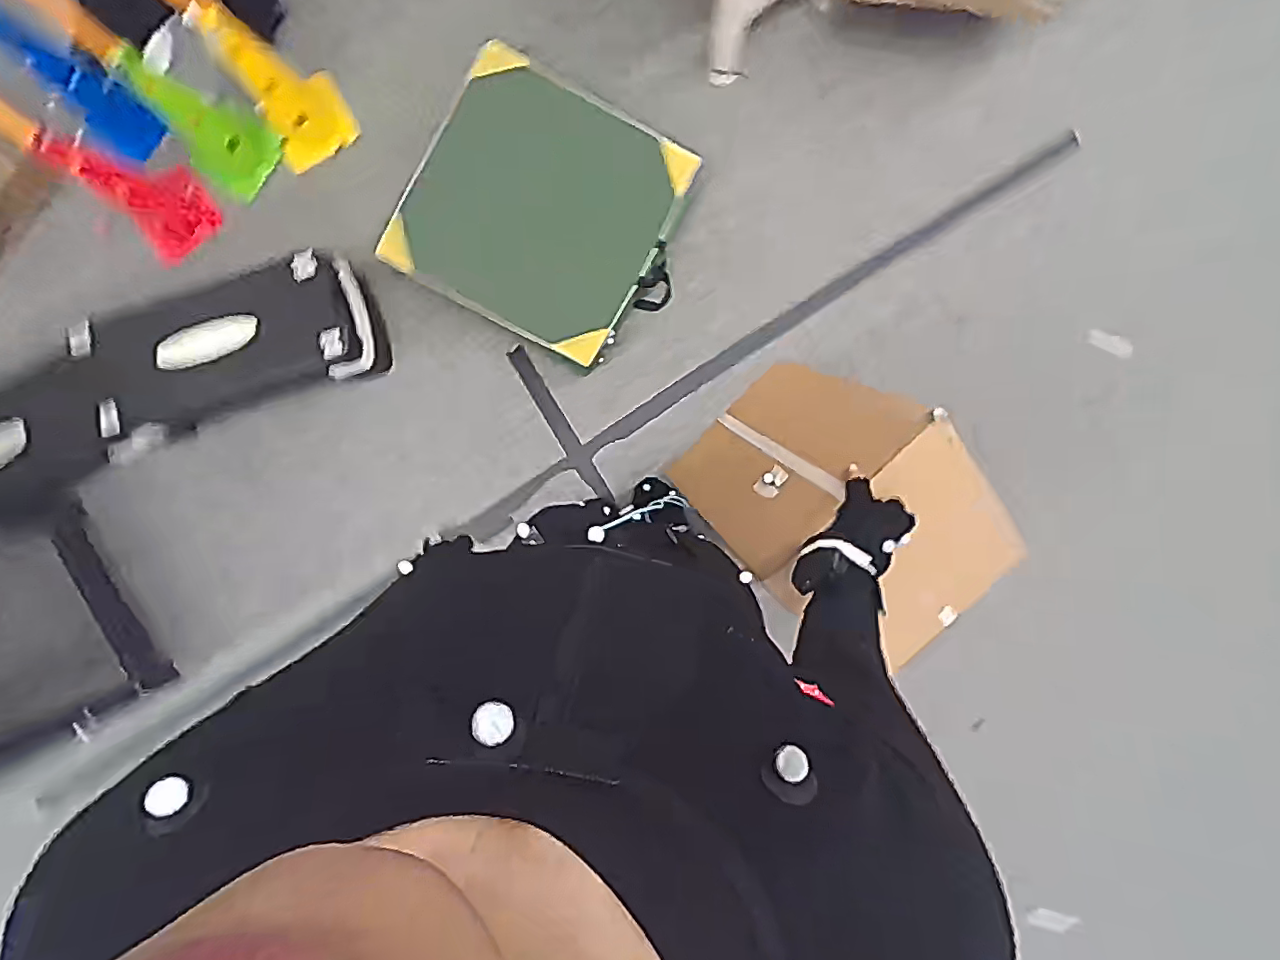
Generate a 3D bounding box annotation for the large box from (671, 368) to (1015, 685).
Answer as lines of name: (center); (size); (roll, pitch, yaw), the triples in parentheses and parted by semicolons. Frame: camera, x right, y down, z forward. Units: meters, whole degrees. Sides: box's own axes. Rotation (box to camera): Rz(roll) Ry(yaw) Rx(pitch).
large box: (0.315, 0.054, 0.931); (0.320, 0.408, 0.320); (-45, 117, 5)
